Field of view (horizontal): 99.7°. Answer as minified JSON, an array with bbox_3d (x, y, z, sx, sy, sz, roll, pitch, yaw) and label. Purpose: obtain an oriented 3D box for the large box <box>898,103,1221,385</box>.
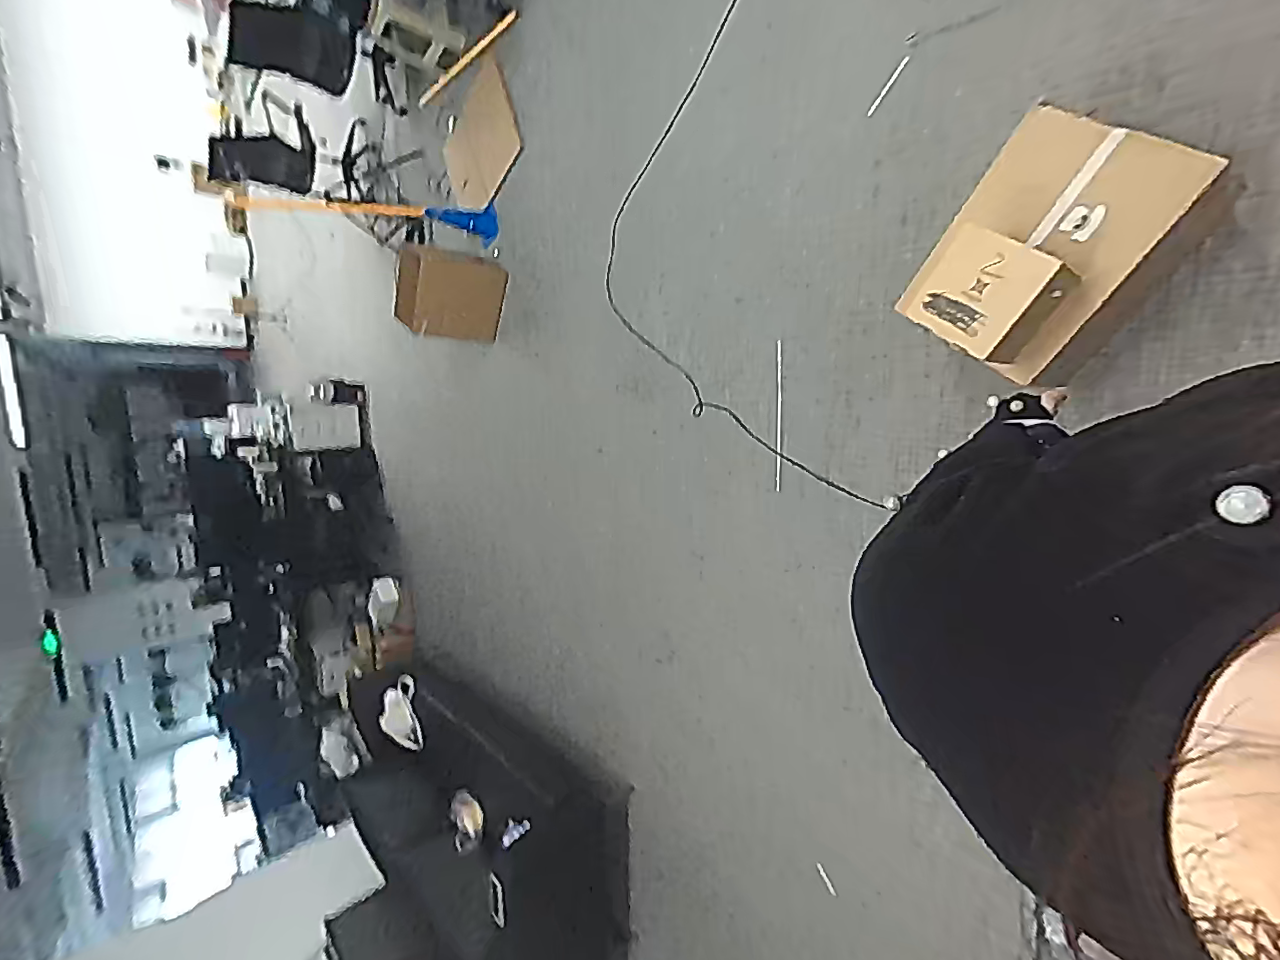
[{"bbox_3d":[0.825,-0.444,1.094,0.320,0.320,0.408,48,128,31],"label":"large box"}]
